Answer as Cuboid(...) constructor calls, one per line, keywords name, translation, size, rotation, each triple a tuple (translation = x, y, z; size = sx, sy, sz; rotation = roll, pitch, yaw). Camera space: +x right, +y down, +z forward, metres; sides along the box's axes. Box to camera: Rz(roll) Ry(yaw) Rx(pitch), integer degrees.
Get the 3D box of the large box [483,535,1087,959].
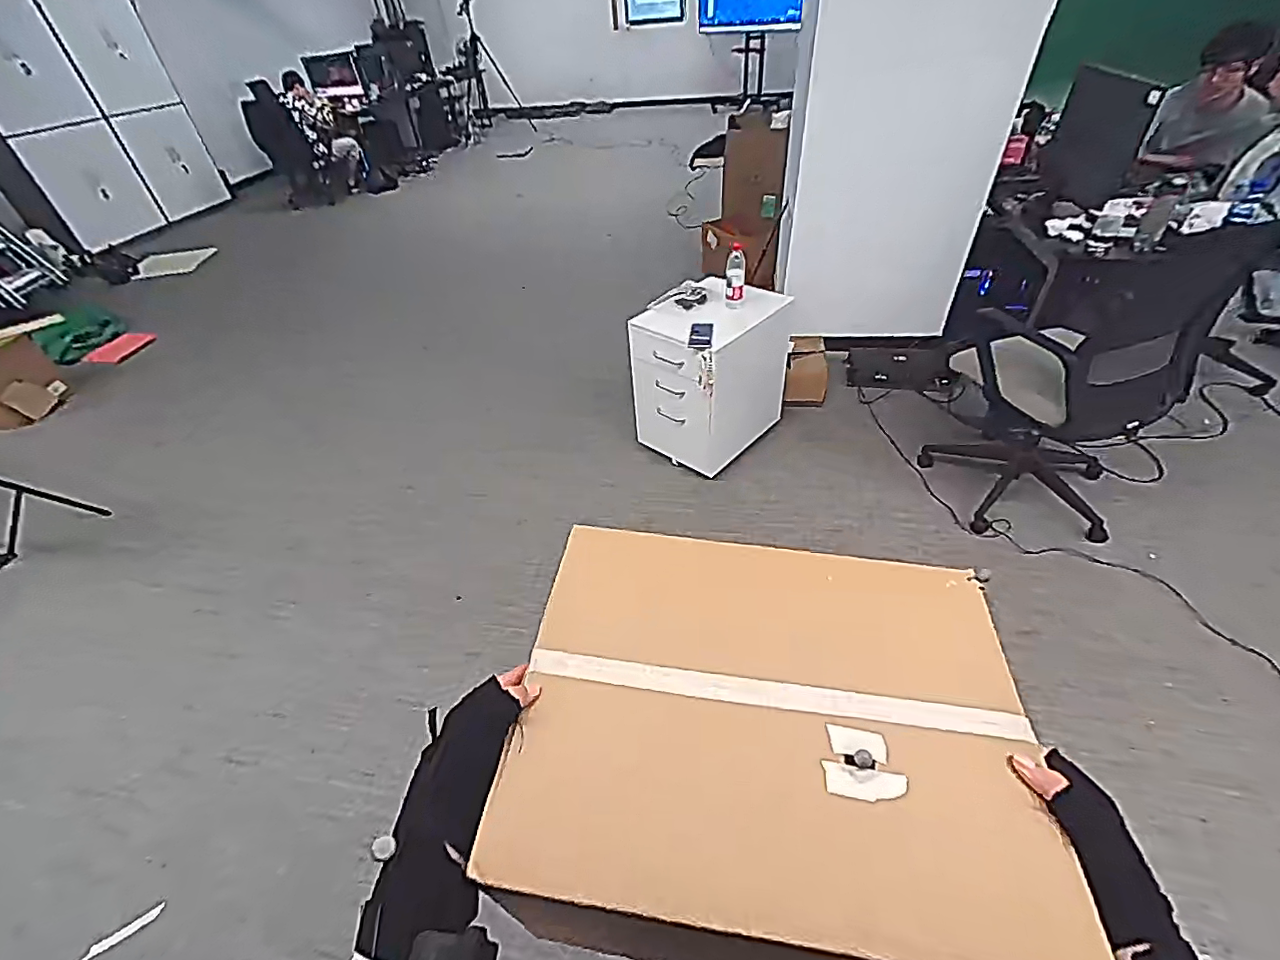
Cuboid(name="large box", translation=(0.103, 0.288, 0.563), size=(0.408, 0.320, 0.320), rotation=(6, 46, 6))
